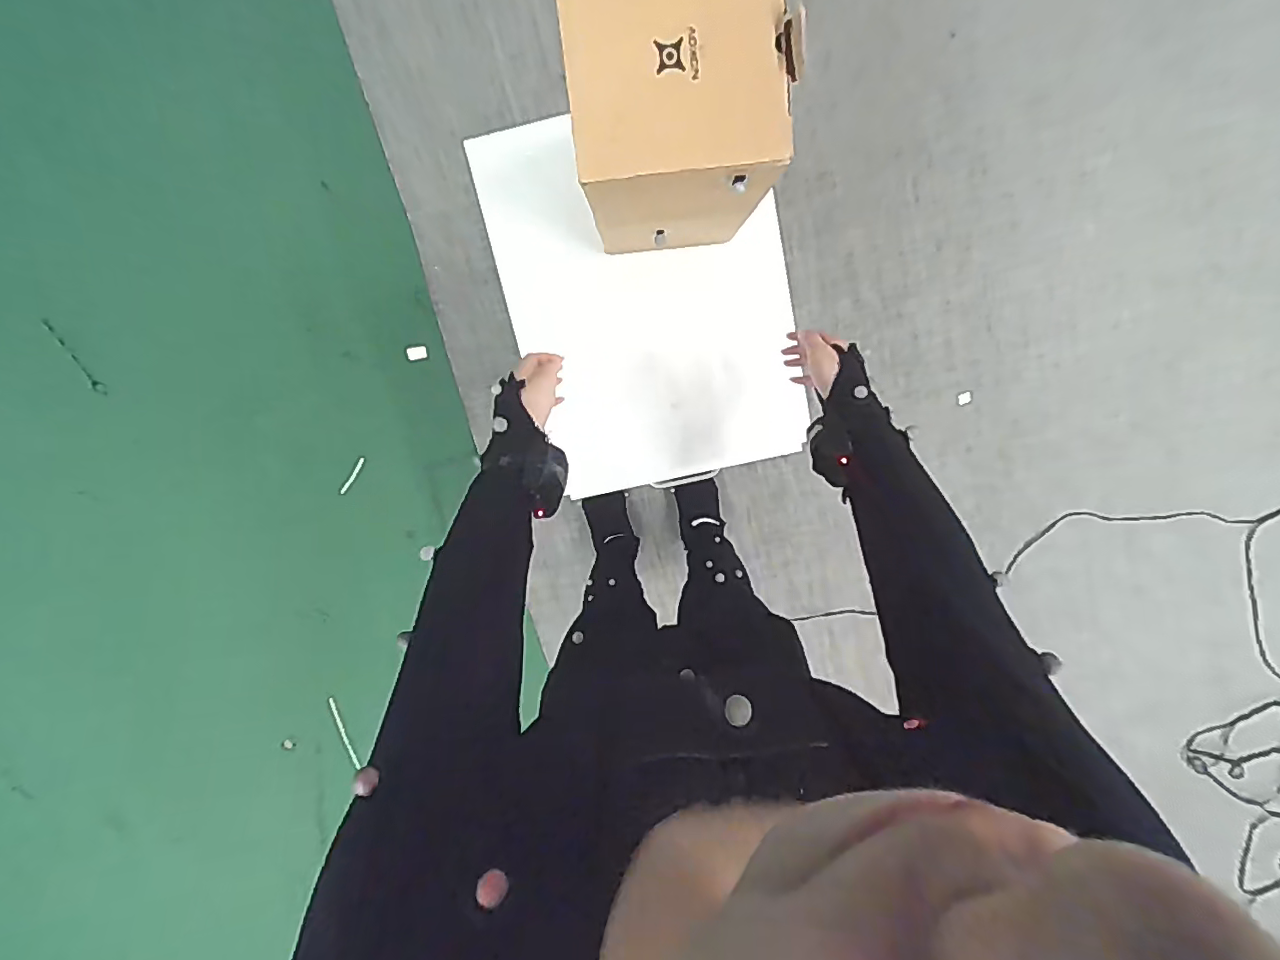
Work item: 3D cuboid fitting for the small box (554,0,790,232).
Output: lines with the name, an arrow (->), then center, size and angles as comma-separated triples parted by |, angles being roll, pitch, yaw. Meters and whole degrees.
small box -> 0.028, -0.341, 0.498 | 0.179, 0.176, 0.168 | -6, 102, 1

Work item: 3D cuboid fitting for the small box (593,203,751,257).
small box -> 0.031, -0.378, 0.657 | 0.179, 0.176, 0.168 | -5, 102, 2
